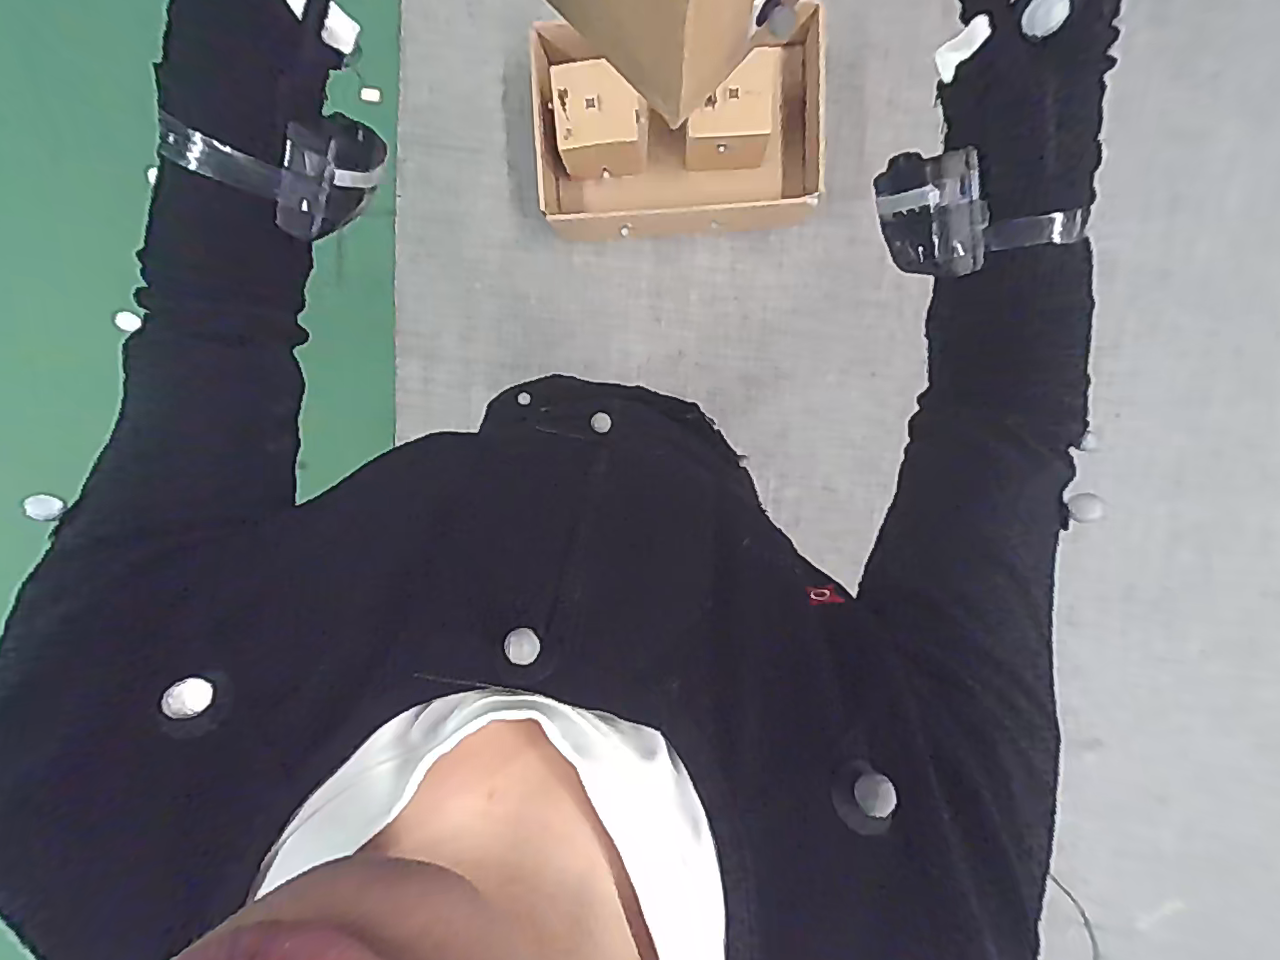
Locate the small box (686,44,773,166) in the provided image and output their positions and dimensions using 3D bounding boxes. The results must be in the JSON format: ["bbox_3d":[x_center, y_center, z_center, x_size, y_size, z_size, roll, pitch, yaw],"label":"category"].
[{"bbox_3d":[0.191,-0.815,1.192,0.179,0.176,0.168,0,99,4],"label":"small box"}]

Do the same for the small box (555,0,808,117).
[{"bbox_3d":[0.018,-0.331,0.258,0.179,0.176,0.168,45,96,-4],"label":"small box"}]

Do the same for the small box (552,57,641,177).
[{"bbox_3d":[-0.089,-0.805,1.211,0.179,0.176,0.168,-5,97,3],"label":"small box"}]
